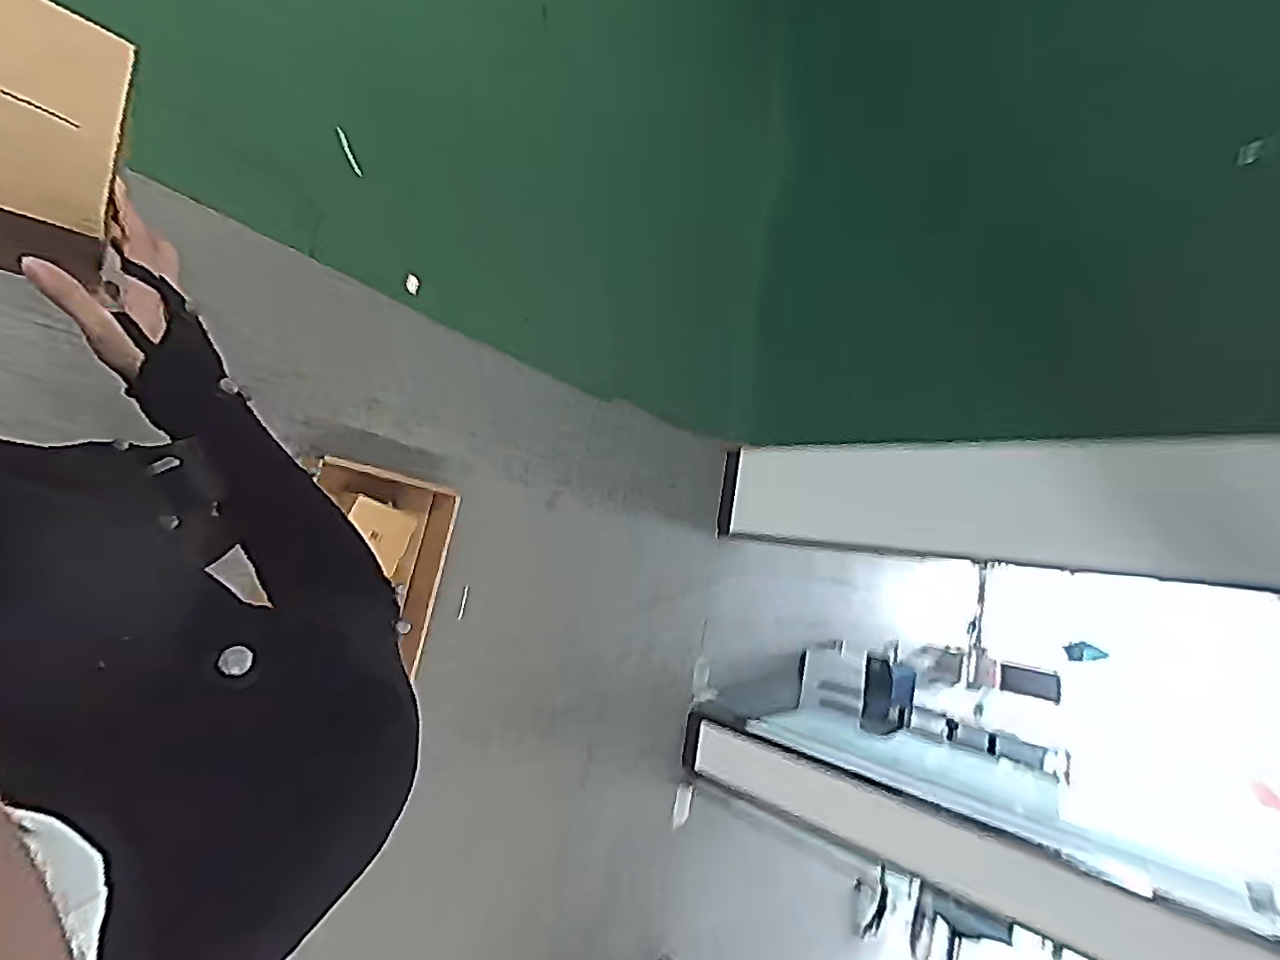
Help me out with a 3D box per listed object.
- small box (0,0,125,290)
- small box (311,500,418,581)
[{"bbox_3d":[-0.528,-0.267,0.413,0.179,0.176,0.168,9,82,-45],"label":"small box"},{"bbox_3d":[-0.748,0.160,1.461,0.179,0.176,0.168,37,65,-43],"label":"small box"}]
